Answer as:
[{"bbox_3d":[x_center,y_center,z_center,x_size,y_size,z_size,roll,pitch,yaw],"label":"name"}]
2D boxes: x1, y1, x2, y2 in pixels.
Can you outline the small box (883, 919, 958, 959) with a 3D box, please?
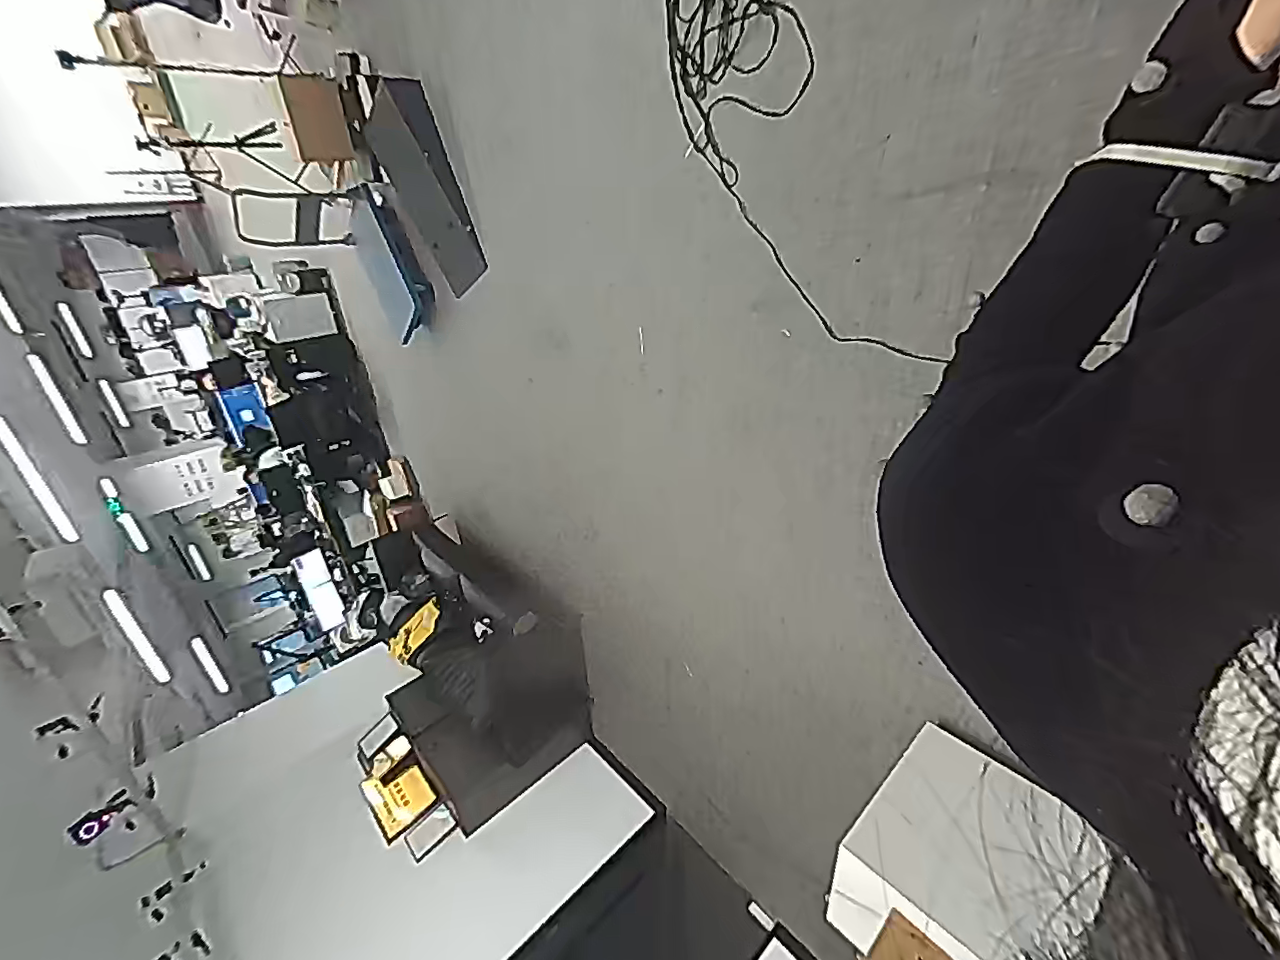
[{"bbox_3d":[0.682,1.237,1.313,0.168,0.176,0.179,26,130,42],"label":"small box"}]
